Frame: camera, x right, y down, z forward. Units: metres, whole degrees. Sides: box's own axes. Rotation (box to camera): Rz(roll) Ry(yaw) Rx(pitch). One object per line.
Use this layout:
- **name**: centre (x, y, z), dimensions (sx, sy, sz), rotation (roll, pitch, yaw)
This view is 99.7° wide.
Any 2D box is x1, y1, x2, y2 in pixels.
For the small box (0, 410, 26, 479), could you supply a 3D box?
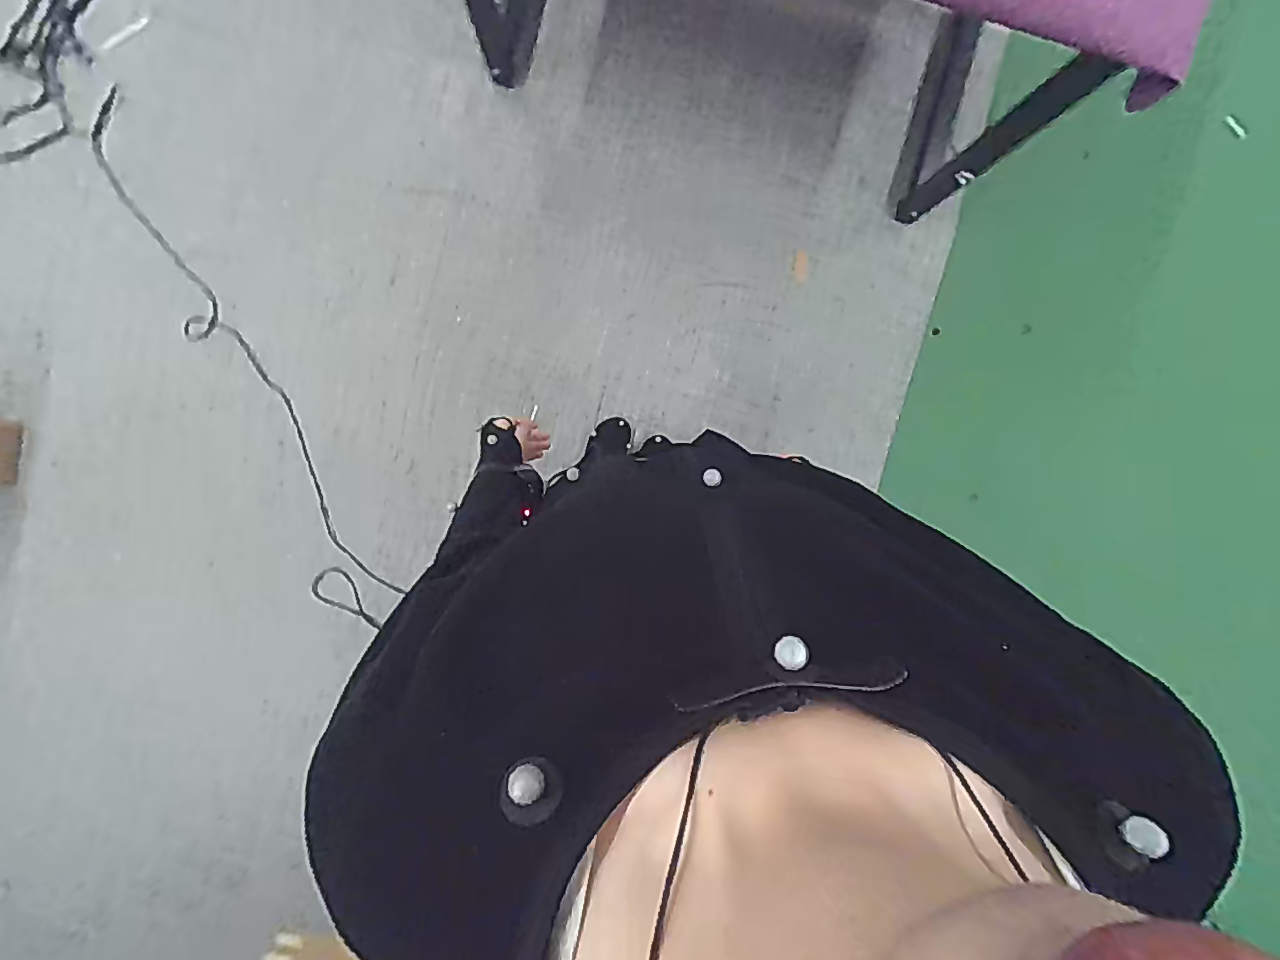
- **small box**: centre (-1.715, -0.096, 1.352), dimensions (0.168, 0.176, 0.179), rotation (14, 94, -3)
